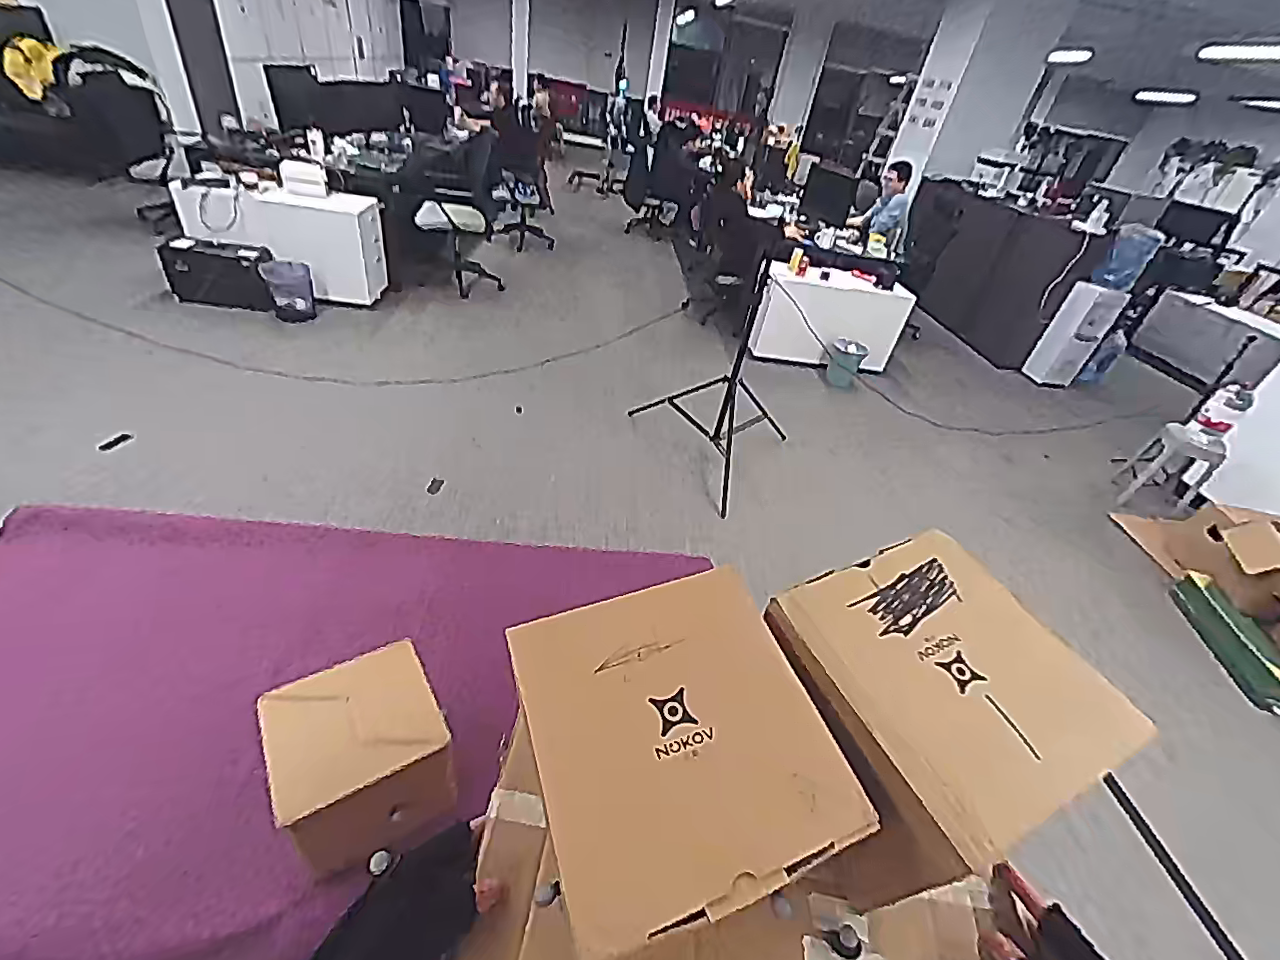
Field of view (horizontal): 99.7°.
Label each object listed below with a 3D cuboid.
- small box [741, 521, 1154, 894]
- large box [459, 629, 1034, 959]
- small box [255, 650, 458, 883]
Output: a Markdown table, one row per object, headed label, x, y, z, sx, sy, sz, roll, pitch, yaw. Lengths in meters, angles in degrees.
| label | x | y | z | sx | sy | sz | roll | pitch | yaw |
| --- | --- | --- | --- | --- | --- | --- | --- | --- | --- |
| small box | 0.196 | 0.165 | 0.407 | 0.168 | 0.176 | 0.179 | -17 | 49 | -20 |
| large box | 0.074 | 0.382 | 0.525 | 0.408 | 0.320 | 0.320 | 8 | 46 | 2 |
| small box | -0.345 | 0.343 | 0.674 | 0.179 | 0.176 | 0.168 | -17 | 44 | -32 |
